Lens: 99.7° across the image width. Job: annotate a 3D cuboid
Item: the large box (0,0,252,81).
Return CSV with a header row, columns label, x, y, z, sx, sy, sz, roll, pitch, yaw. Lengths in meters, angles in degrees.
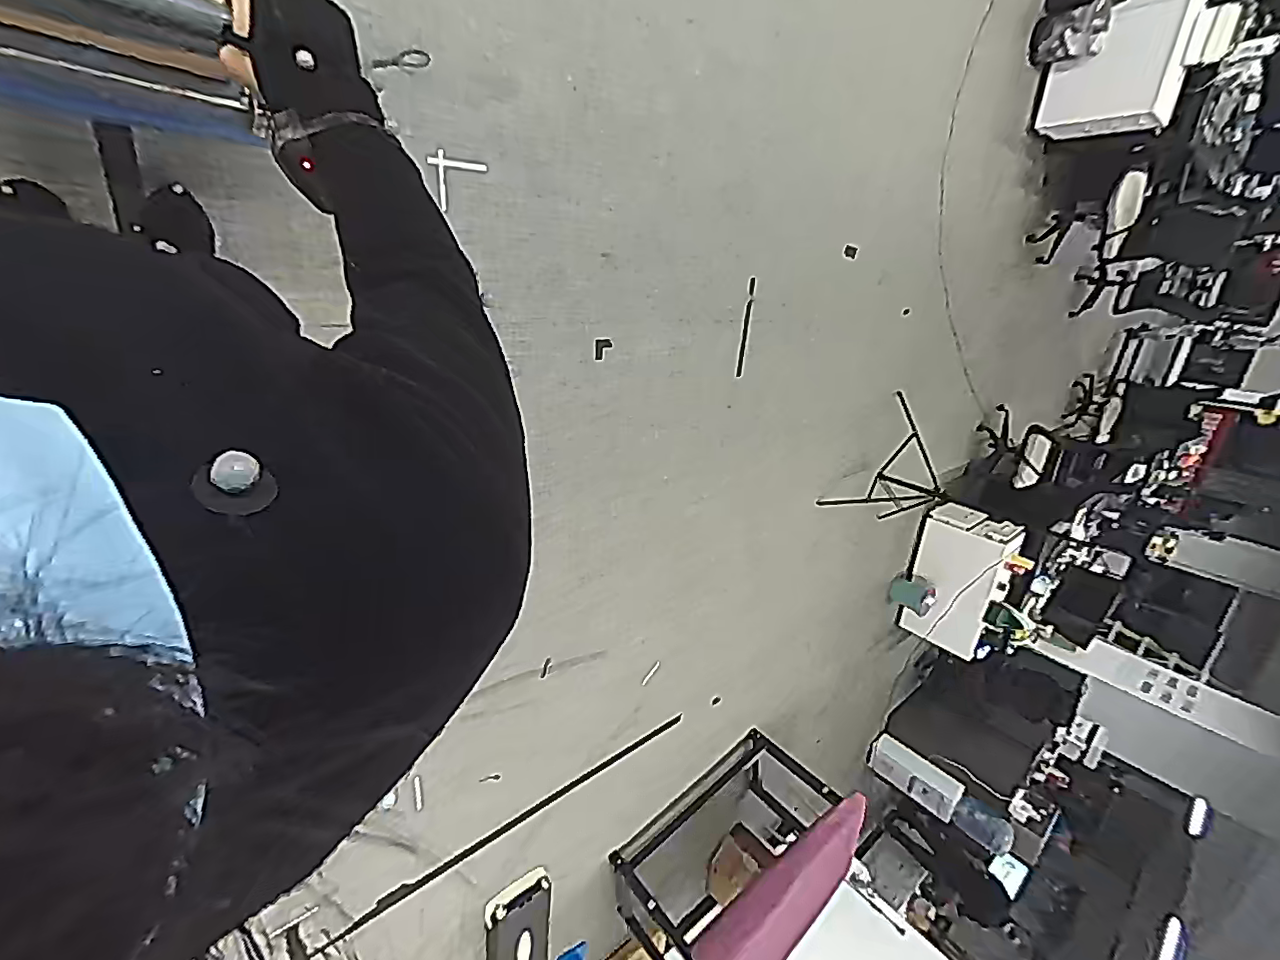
label,x,y,z,sx,sy,sz,roll,pitch,yaw
large box,-0.751,-0.745,0.645,0.408,0.320,0.320,-11,116,-40
